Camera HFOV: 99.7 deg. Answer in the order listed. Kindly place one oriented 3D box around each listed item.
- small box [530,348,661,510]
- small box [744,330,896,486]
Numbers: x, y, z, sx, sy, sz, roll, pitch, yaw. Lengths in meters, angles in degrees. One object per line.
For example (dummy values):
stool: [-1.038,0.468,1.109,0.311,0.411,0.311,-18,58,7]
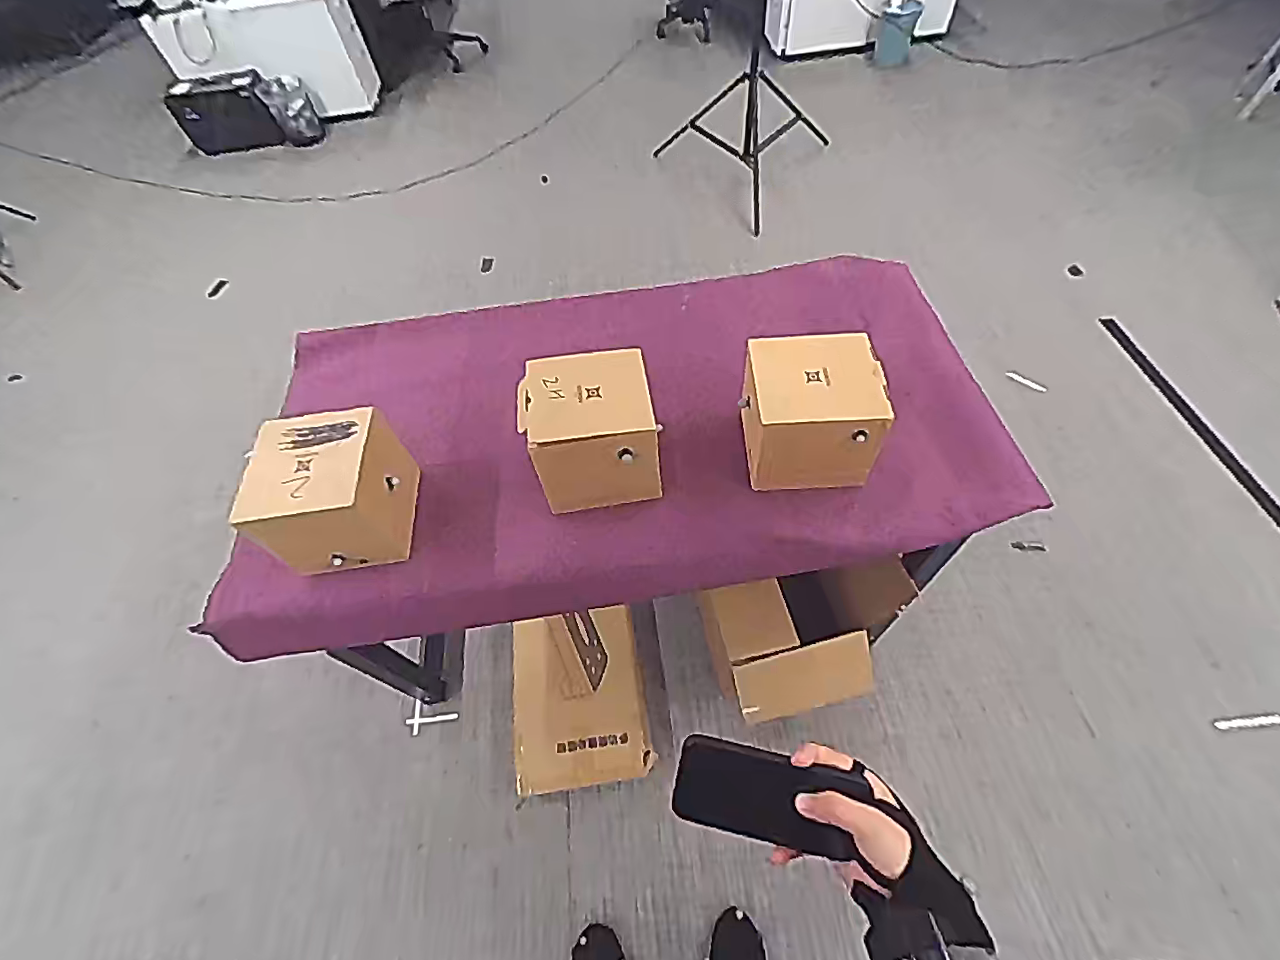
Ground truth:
small box: [-0.063,-0.073,0.826,0.179,0.176,0.168,-9,54,-1]
small box: [0.254,-0.102,0.817,0.179,0.176,0.168,-3,56,3]
